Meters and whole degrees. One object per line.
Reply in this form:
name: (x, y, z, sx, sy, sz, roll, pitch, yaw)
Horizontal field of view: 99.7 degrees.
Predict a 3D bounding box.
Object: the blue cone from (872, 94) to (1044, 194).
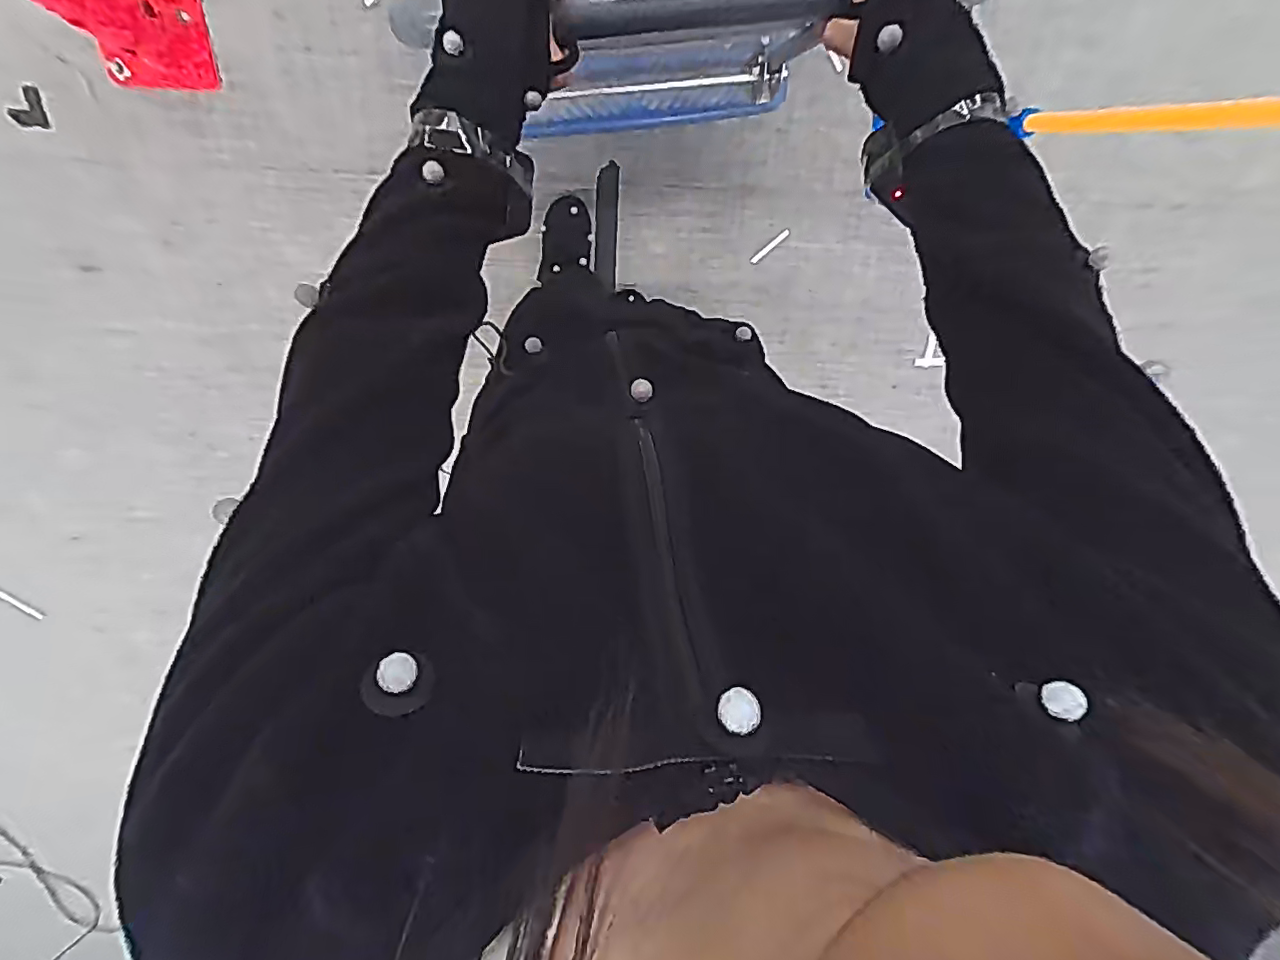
blue cone: (0.633, -0.681, 1.063, 0.193, 0.380, 0.192, -4, 115, -5)
